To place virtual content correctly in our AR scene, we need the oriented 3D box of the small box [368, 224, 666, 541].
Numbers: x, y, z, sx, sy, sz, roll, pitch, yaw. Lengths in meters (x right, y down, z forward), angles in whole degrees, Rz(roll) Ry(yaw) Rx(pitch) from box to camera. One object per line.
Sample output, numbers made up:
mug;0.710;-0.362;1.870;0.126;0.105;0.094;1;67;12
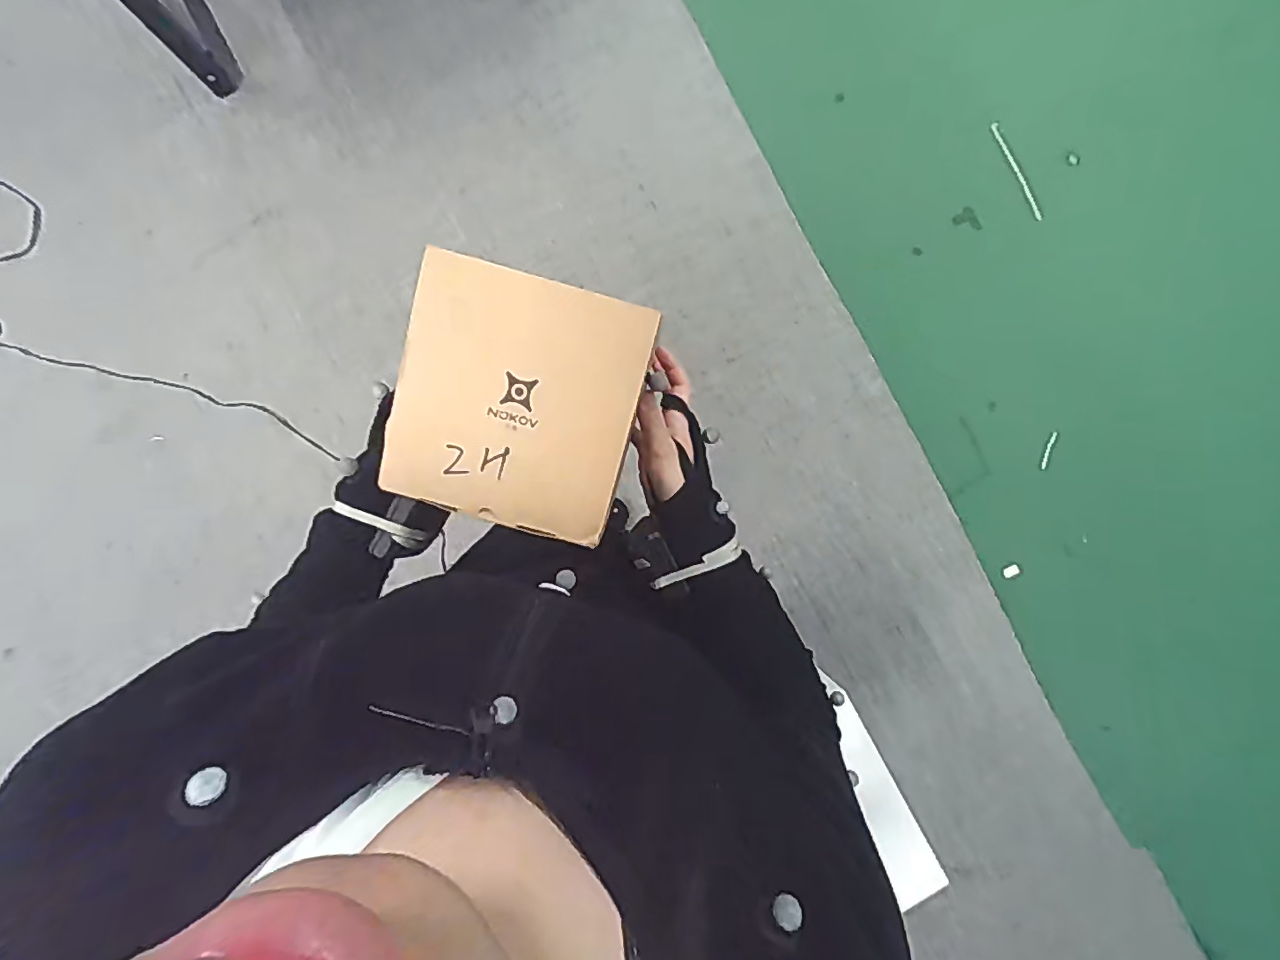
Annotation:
small box;-0.084;-0.072;0.440;0.168;0.176;0.179;16;98;-1
